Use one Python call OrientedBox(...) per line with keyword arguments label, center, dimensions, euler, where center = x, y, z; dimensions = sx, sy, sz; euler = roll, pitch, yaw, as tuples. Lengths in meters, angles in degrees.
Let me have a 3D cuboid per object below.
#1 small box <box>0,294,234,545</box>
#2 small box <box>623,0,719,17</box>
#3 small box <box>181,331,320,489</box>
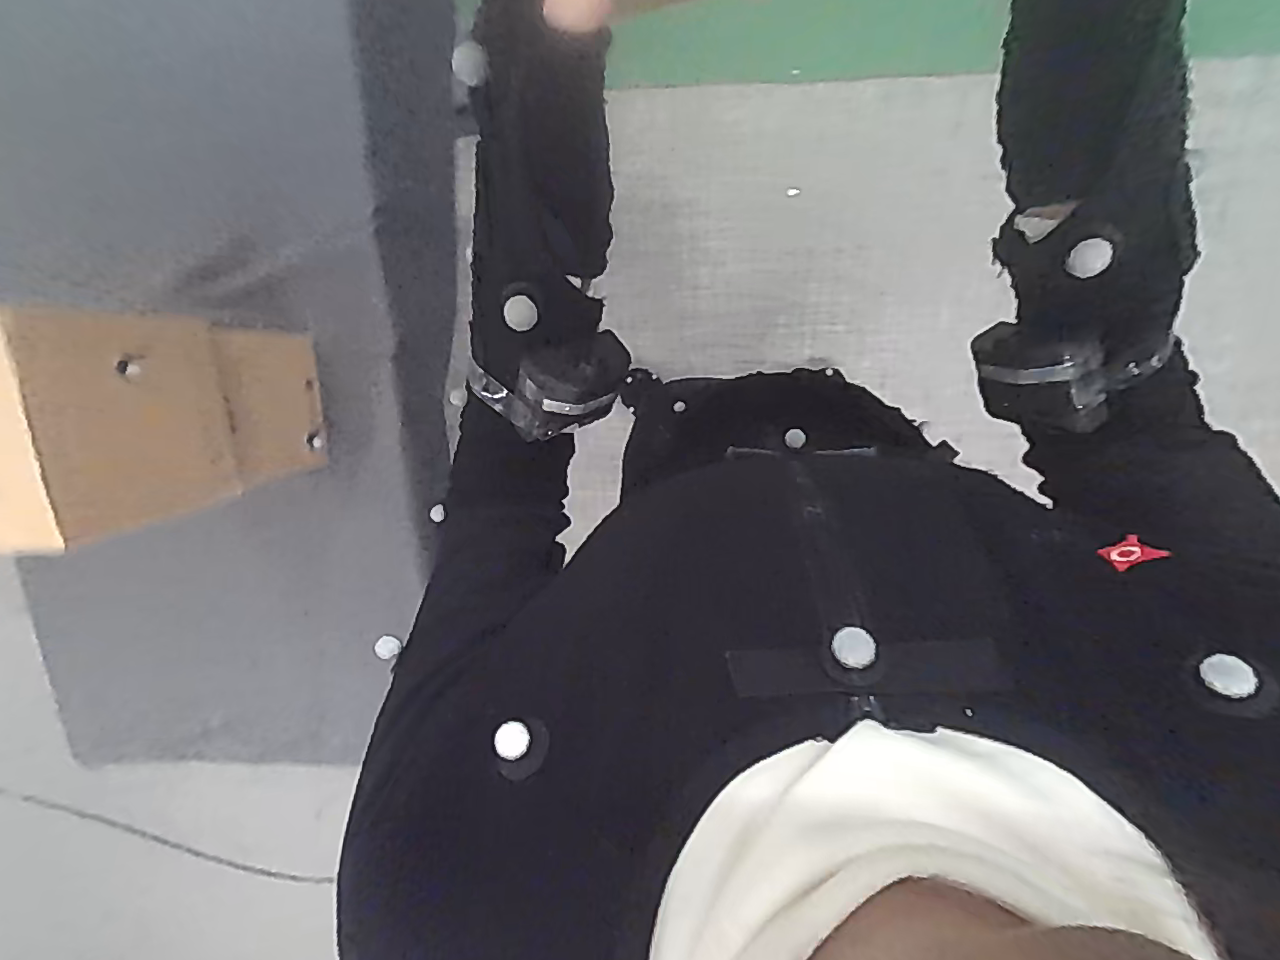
OrientedBox(label="small box", center=(-0.500, -0.050, 0.460), dimensions=(0.168, 0.176, 0.179), euler=(-5, 102, 6))
OrientedBox(label="small box", center=(0.057, -0.292, 0.185), dimensions=(0.179, 0.176, 0.168), euler=(-11, 124, 7))
OrientedBox(label="small box", center=(-0.508, -0.088, 0.634), dimensions=(0.179, 0.176, 0.168), euler=(0, 103, 5))
